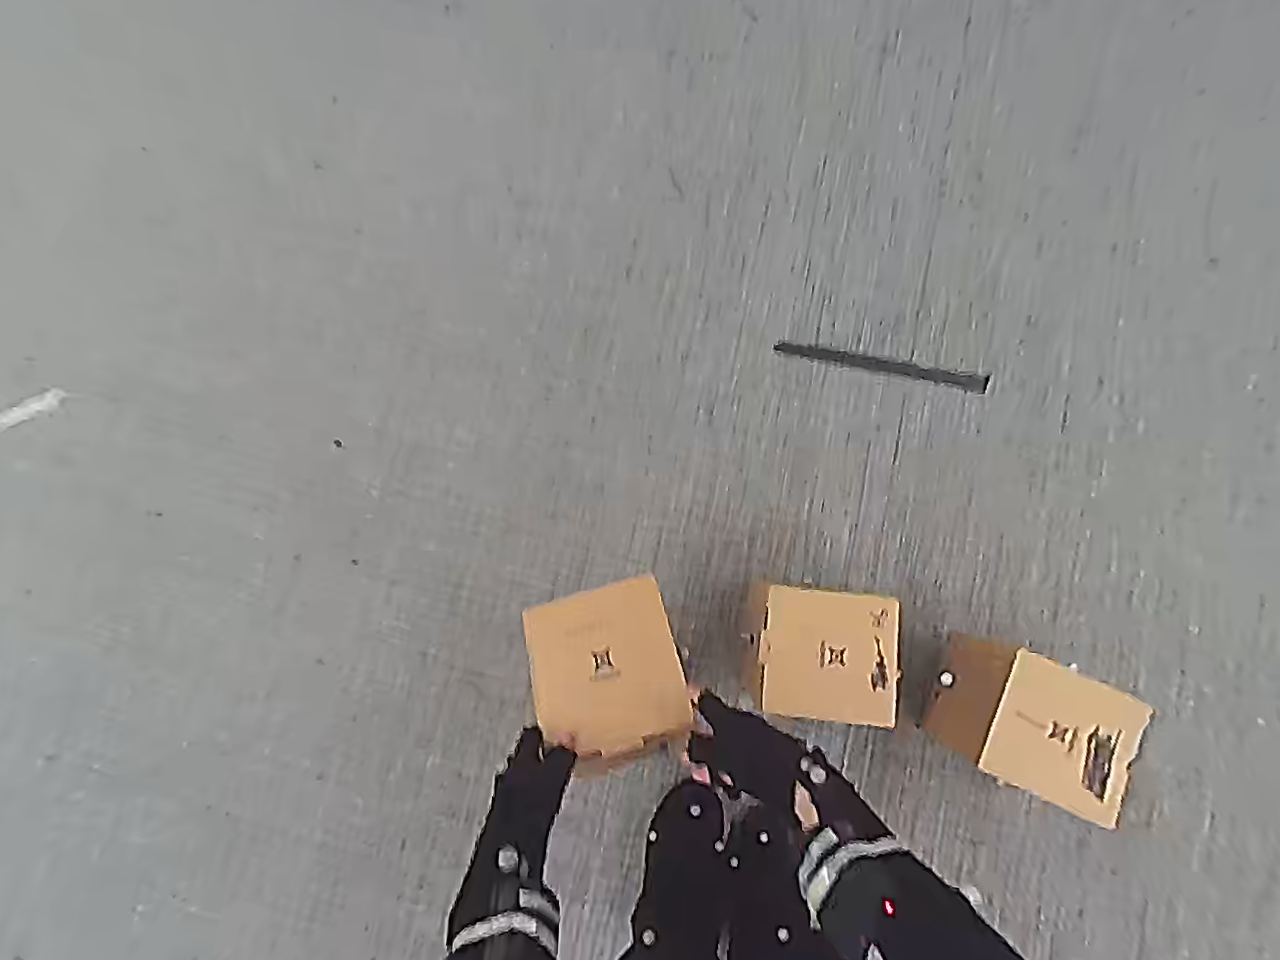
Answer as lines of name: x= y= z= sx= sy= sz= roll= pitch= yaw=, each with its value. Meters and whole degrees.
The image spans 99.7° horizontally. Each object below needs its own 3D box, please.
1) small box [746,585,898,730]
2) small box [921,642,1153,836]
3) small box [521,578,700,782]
small box: x=0.253 y=0.245 z=0.788 sx=0.179 sy=0.176 sz=0.168 roll=5 pitch=82 yaw=4
small box: x=0.539 y=0.342 z=0.759 sx=0.179 sy=0.176 sz=0.168 roll=24 pitch=83 yaw=7
small box: x=-0.030 y=0.248 z=0.651 sx=0.168 sy=0.176 sz=0.179 roll=-16 pitch=56 yaw=-3
